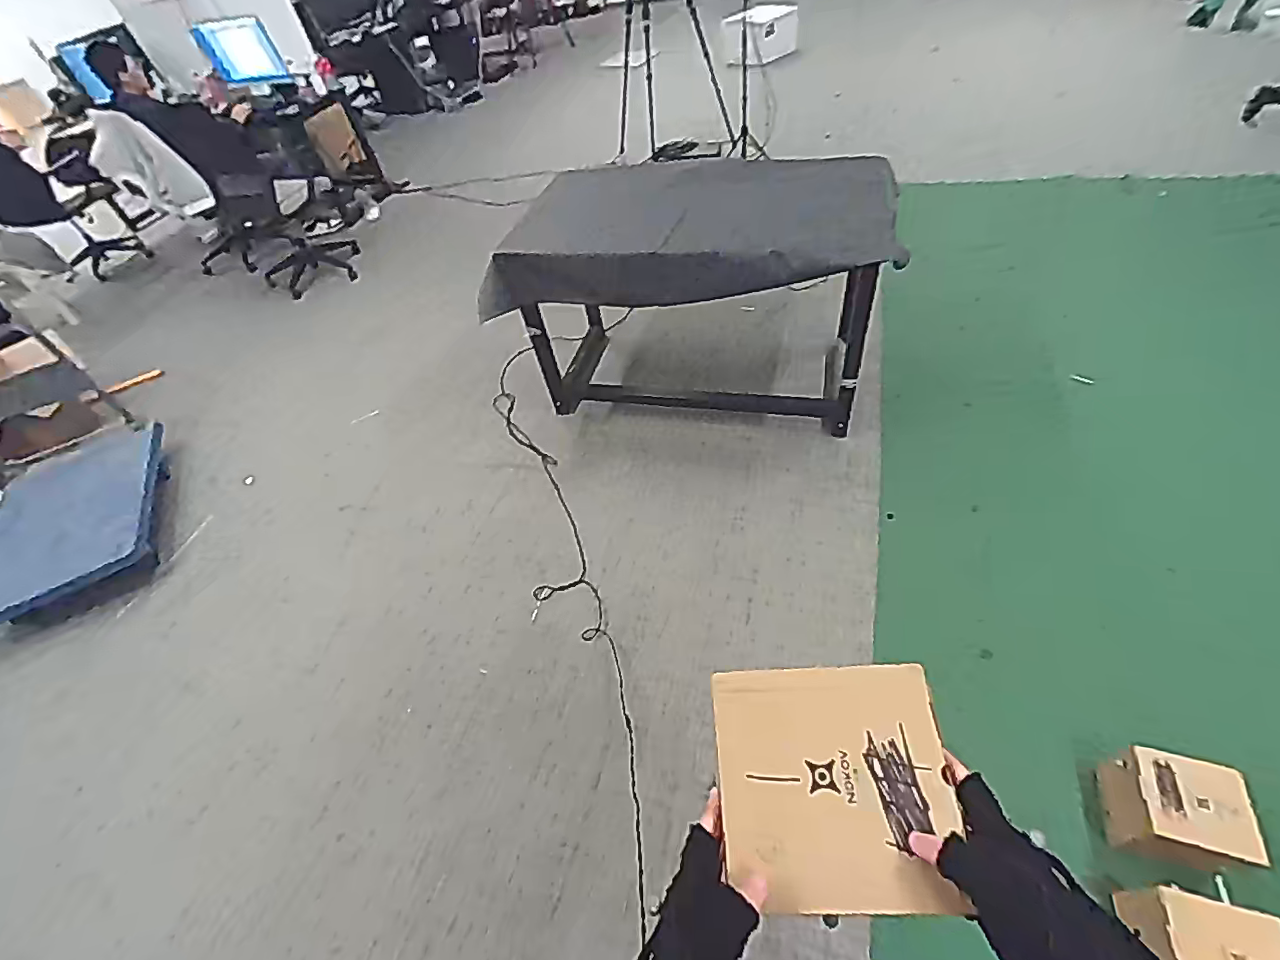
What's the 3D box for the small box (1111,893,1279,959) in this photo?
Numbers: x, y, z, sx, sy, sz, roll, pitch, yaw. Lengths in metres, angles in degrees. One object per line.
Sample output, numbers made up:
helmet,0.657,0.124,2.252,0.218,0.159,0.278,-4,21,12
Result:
small box,1.000,0.866,0.963,0.179,0.176,0.168,7,51,17
